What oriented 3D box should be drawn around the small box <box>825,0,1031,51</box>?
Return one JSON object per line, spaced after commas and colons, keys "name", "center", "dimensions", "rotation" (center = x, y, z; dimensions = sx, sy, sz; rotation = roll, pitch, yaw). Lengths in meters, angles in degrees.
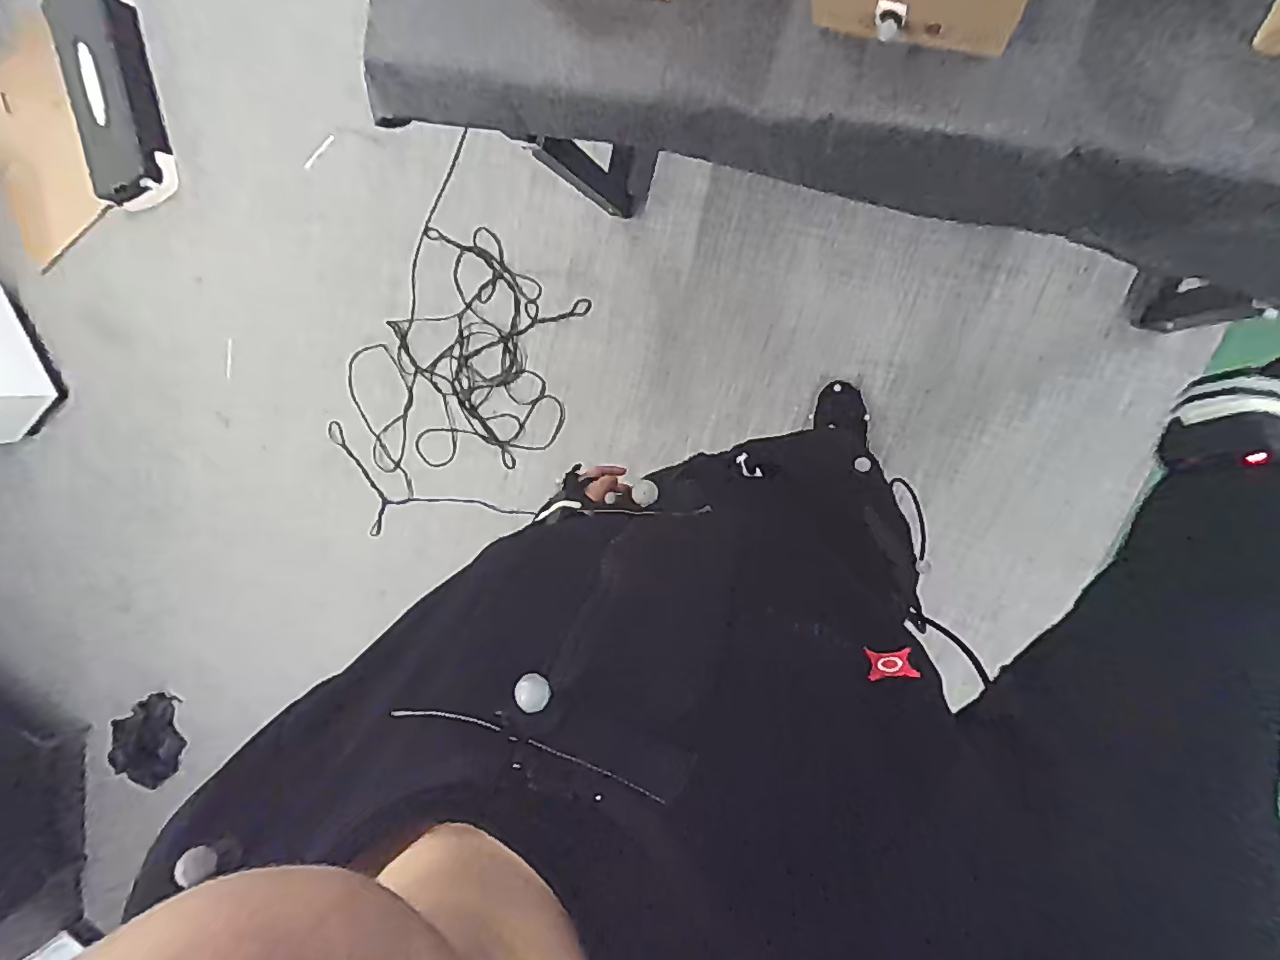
{"name": "small box", "center": [0.235, -0.458, 0.382], "dimensions": [0.168, 0.176, 0.179], "rotation": [21, 106, 16]}
